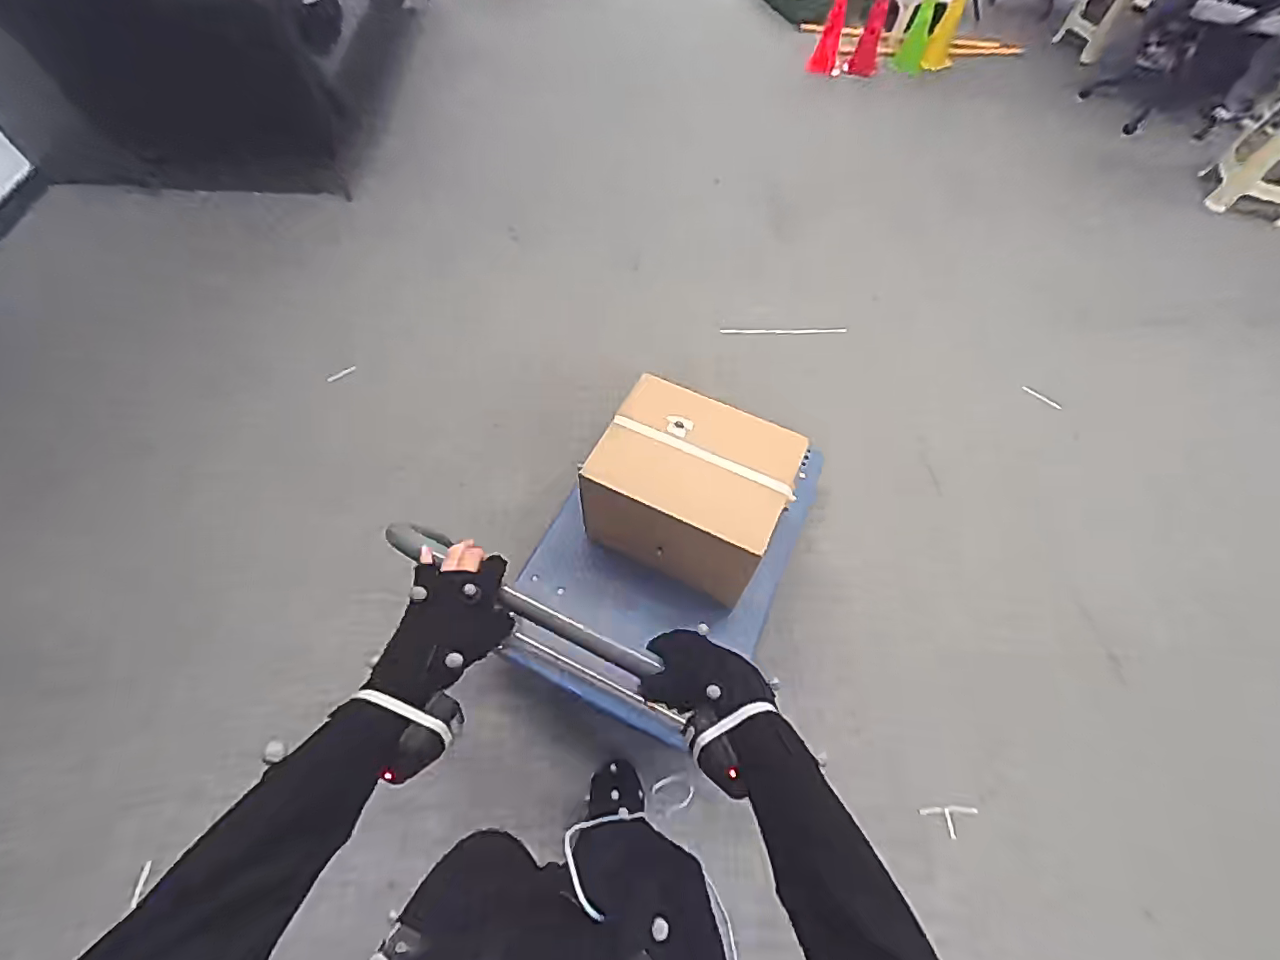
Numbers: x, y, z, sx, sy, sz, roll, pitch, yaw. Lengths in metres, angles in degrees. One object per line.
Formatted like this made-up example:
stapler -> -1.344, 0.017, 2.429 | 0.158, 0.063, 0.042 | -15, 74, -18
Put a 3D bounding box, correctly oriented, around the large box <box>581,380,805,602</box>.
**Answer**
large box -> 0.120, 0.031, 1.277 | 0.408, 0.320, 0.320 | 23, 60, 13
